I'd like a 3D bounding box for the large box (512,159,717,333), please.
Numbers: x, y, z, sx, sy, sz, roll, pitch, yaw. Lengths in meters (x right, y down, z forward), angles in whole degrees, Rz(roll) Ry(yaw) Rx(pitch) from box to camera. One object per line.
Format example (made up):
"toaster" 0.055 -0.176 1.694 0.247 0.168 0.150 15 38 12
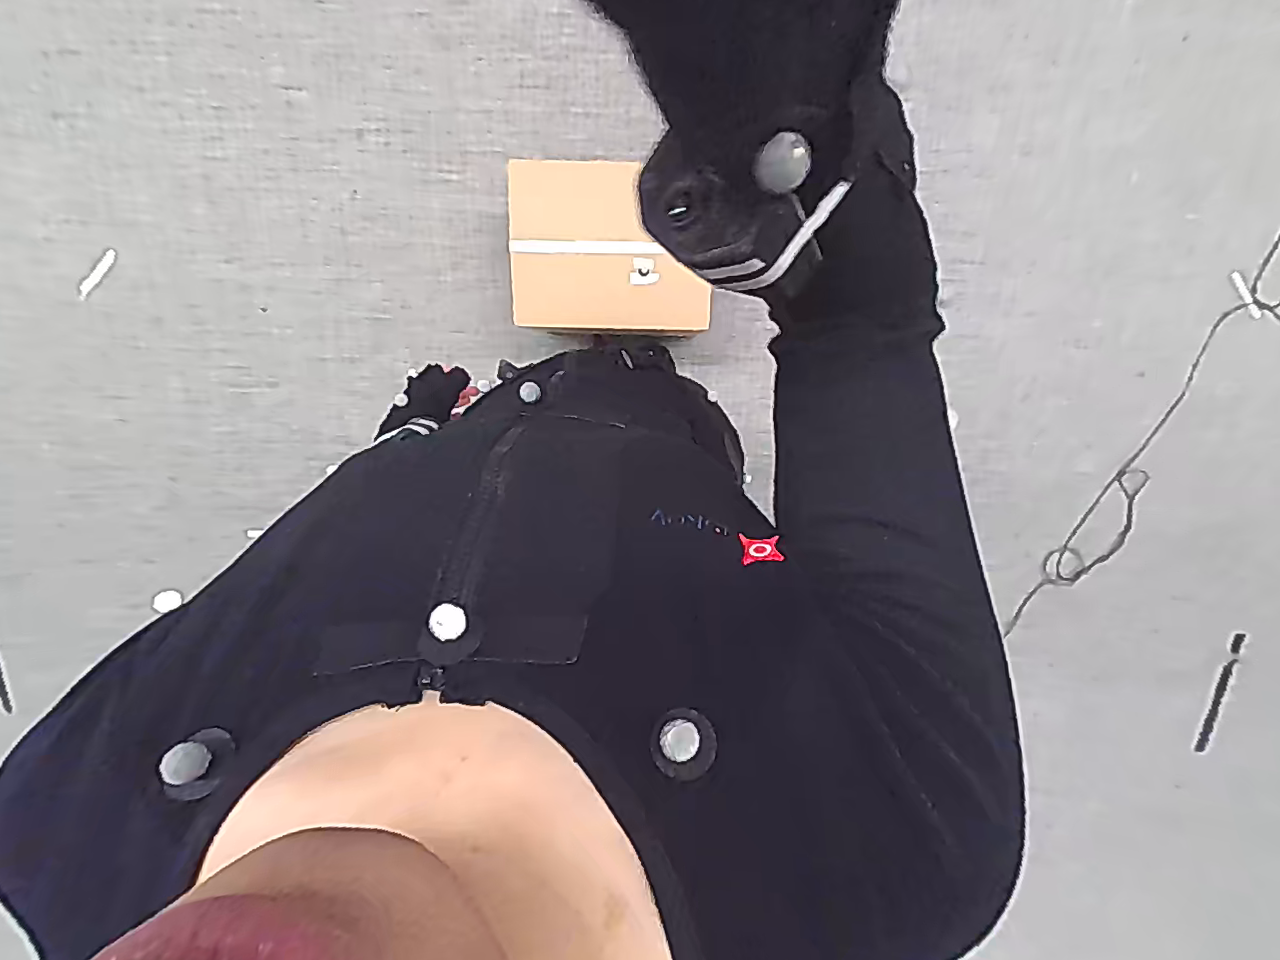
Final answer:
"large box" -0.051 -0.501 1.222 0.408 0.320 0.320 1 104 0
